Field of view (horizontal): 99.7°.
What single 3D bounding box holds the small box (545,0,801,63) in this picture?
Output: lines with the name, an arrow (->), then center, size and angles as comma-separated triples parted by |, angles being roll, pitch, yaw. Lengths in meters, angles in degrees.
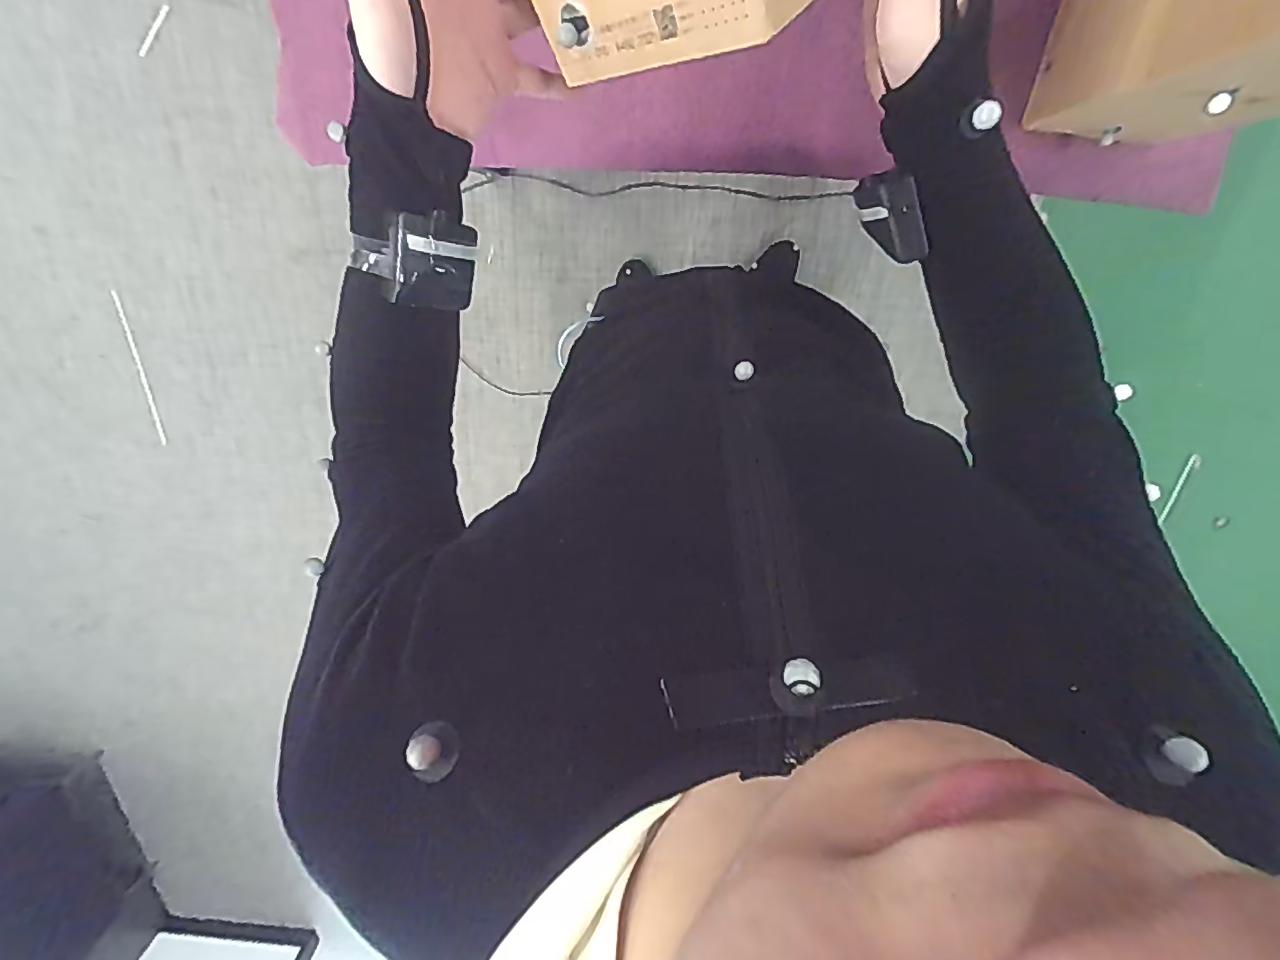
small box -> 0.029, -0.357, 0.290 | 0.179, 0.168, 0.176 | -50, 139, -18

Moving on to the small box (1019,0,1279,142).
small box -> 0.566, -0.479, 0.580 | 0.179, 0.176, 0.168 | 8, 112, 1
